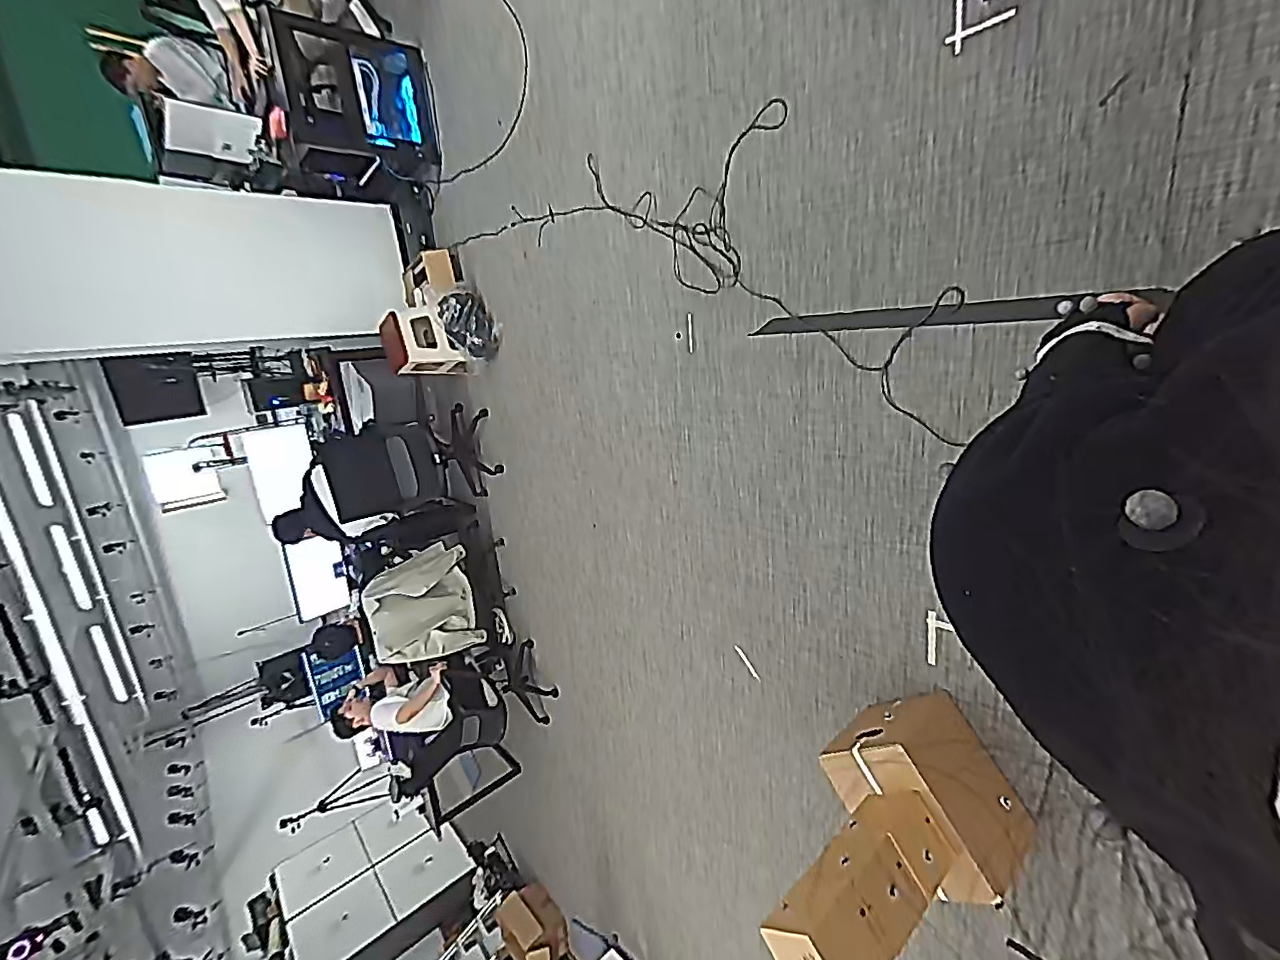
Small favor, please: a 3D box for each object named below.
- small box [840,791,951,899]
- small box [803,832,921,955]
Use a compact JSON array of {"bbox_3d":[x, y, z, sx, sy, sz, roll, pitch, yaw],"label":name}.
[{"bbox_3d":[0.657,0.919,1.377,0.168,0.176,0.179,60,140,15],"label":"small box"},{"bbox_3d":[0.531,0.966,1.281,0.168,0.176,0.179,60,140,16],"label":"small box"}]
